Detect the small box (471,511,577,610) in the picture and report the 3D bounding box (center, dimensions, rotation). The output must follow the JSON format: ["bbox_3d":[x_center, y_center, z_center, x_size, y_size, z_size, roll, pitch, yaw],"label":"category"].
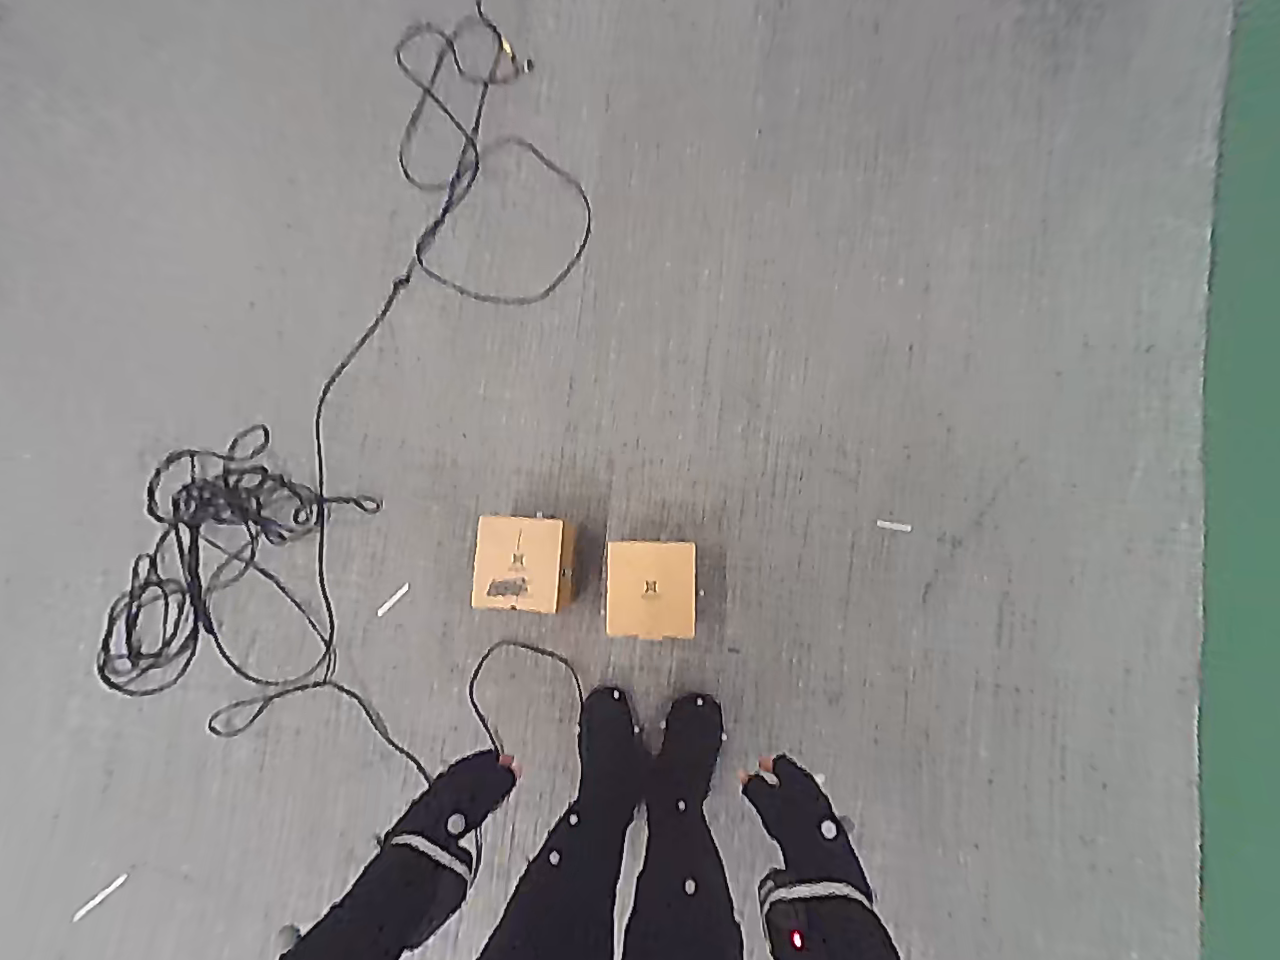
[{"bbox_3d":[-0.225,0.158,1.094,0.168,0.176,0.179,3,84,4],"label":"small box"}]

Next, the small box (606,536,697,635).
[{"bbox_3d":[0.026,0.202,1.075,0.168,0.176,0.179,0,86,4],"label":"small box"}]
